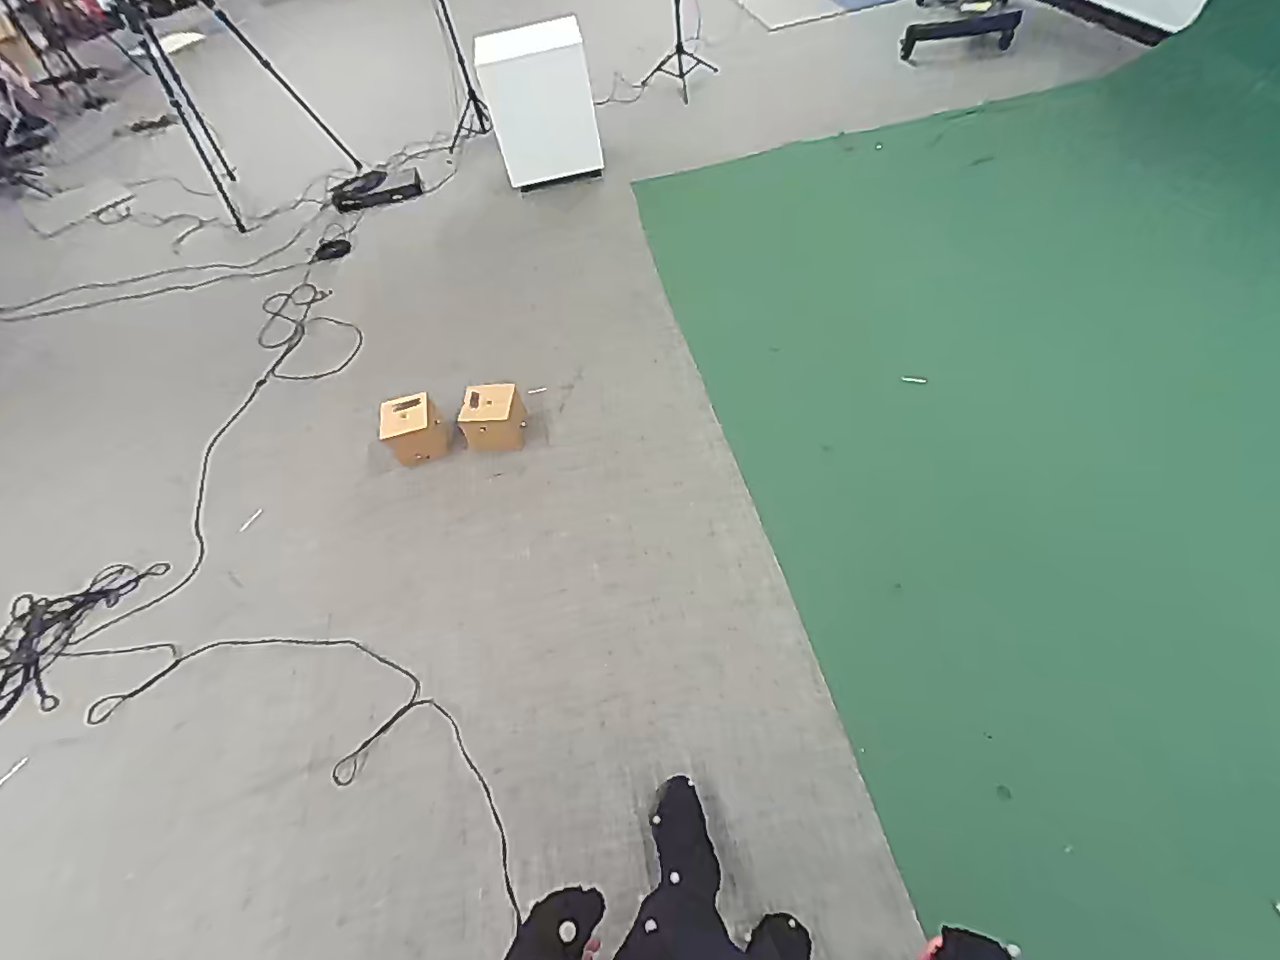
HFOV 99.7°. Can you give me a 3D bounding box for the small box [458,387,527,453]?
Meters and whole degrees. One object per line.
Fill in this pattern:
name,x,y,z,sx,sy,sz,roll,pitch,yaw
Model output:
small box,-0.515,-0.208,1.912,0.179,0.176,0.168,-1,55,6
